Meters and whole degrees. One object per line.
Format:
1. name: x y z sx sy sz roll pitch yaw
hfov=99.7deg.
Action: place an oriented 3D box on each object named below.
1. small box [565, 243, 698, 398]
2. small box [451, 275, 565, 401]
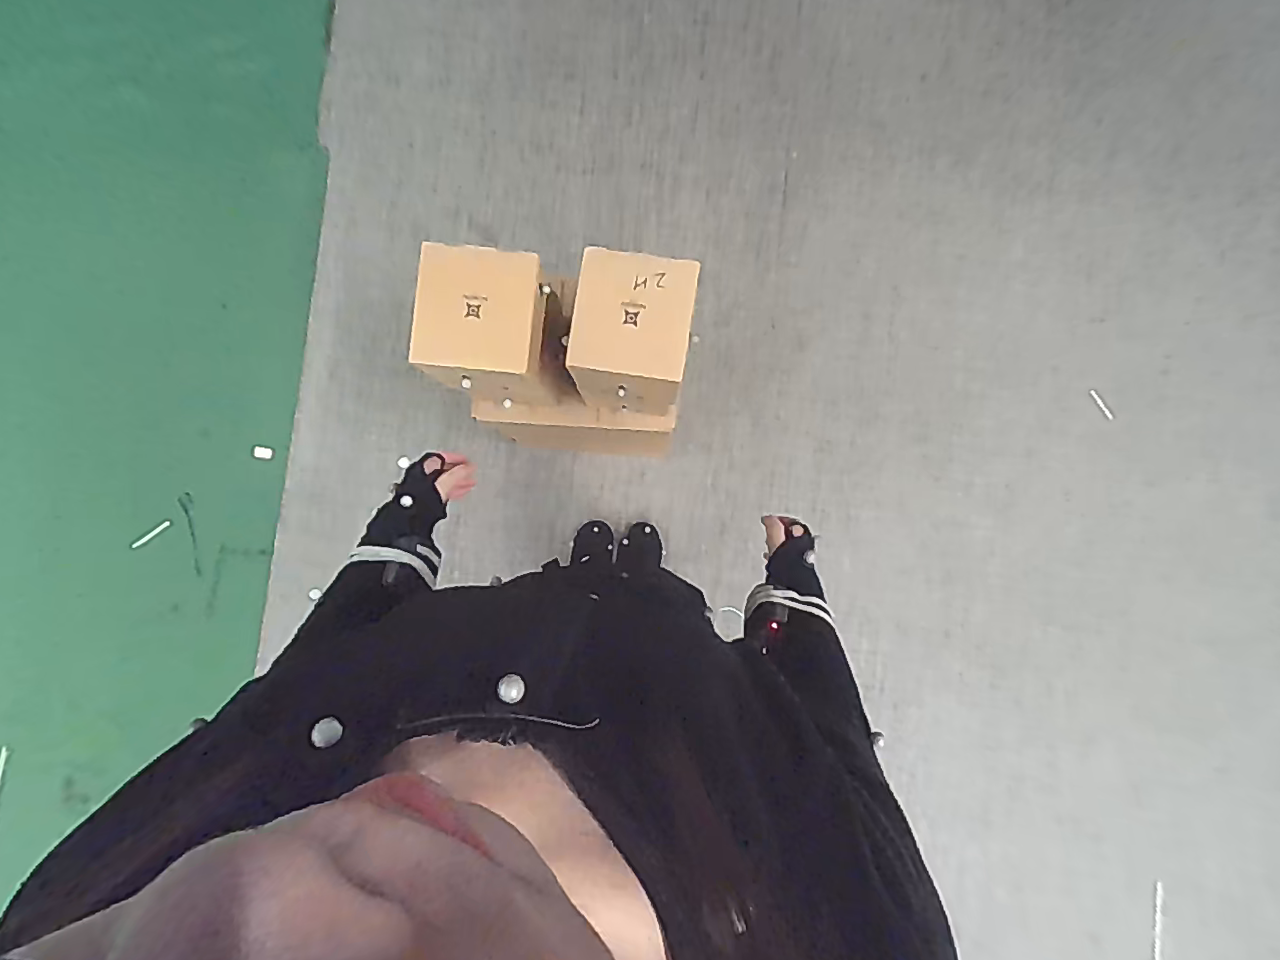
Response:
1. small box: -0.010 -0.235 0.841 0.168 0.176 0.179 10 88 1
2. small box: -0.236 -0.255 1.007 0.168 0.176 0.179 7 89 -1
